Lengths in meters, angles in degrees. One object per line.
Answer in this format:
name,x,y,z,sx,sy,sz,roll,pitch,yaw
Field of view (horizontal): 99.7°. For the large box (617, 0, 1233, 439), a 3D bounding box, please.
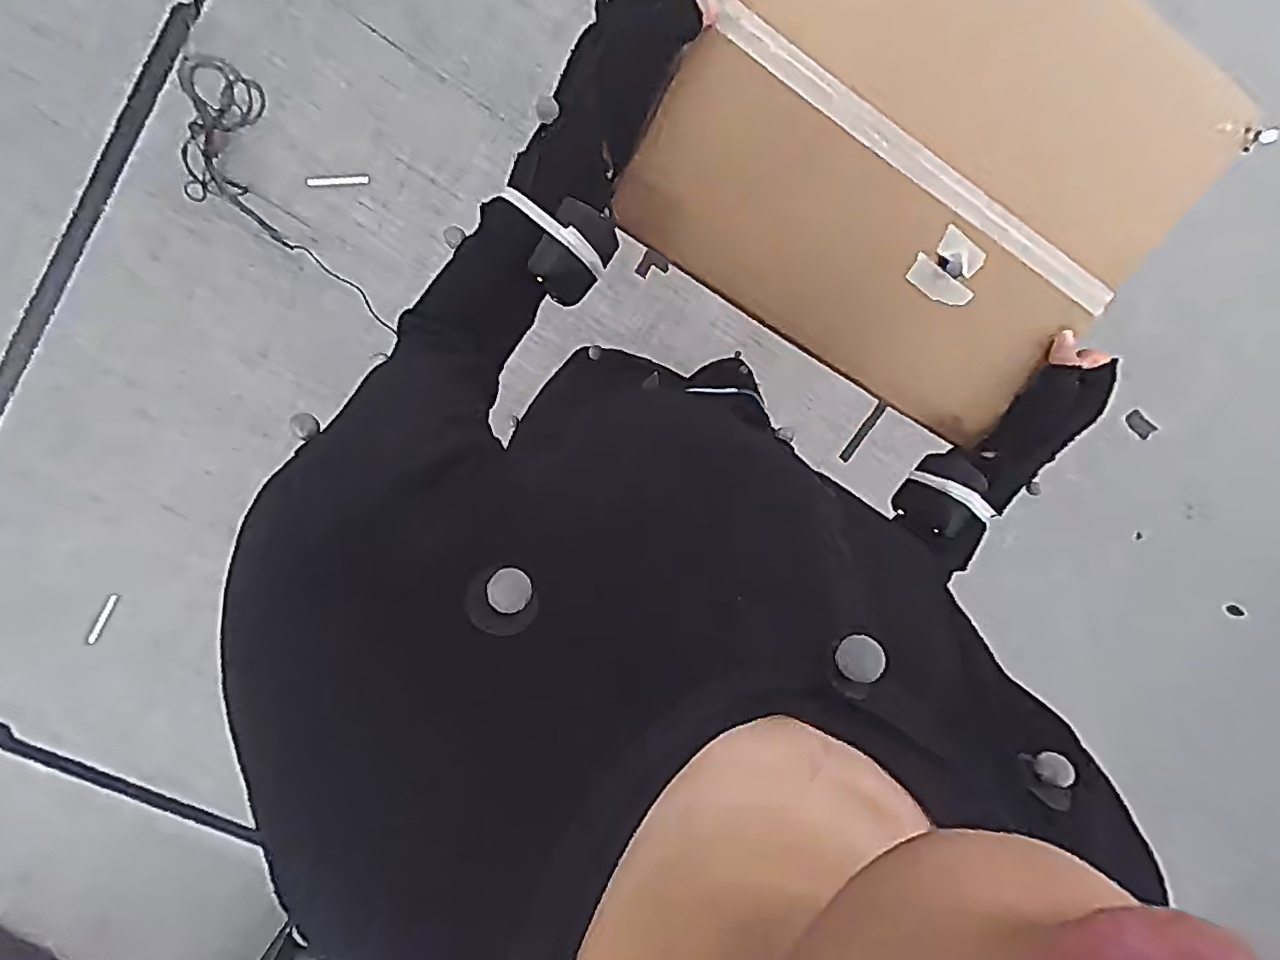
large box,0.221,-0.308,0.571,0.408,0.320,0.320,29,111,-13
